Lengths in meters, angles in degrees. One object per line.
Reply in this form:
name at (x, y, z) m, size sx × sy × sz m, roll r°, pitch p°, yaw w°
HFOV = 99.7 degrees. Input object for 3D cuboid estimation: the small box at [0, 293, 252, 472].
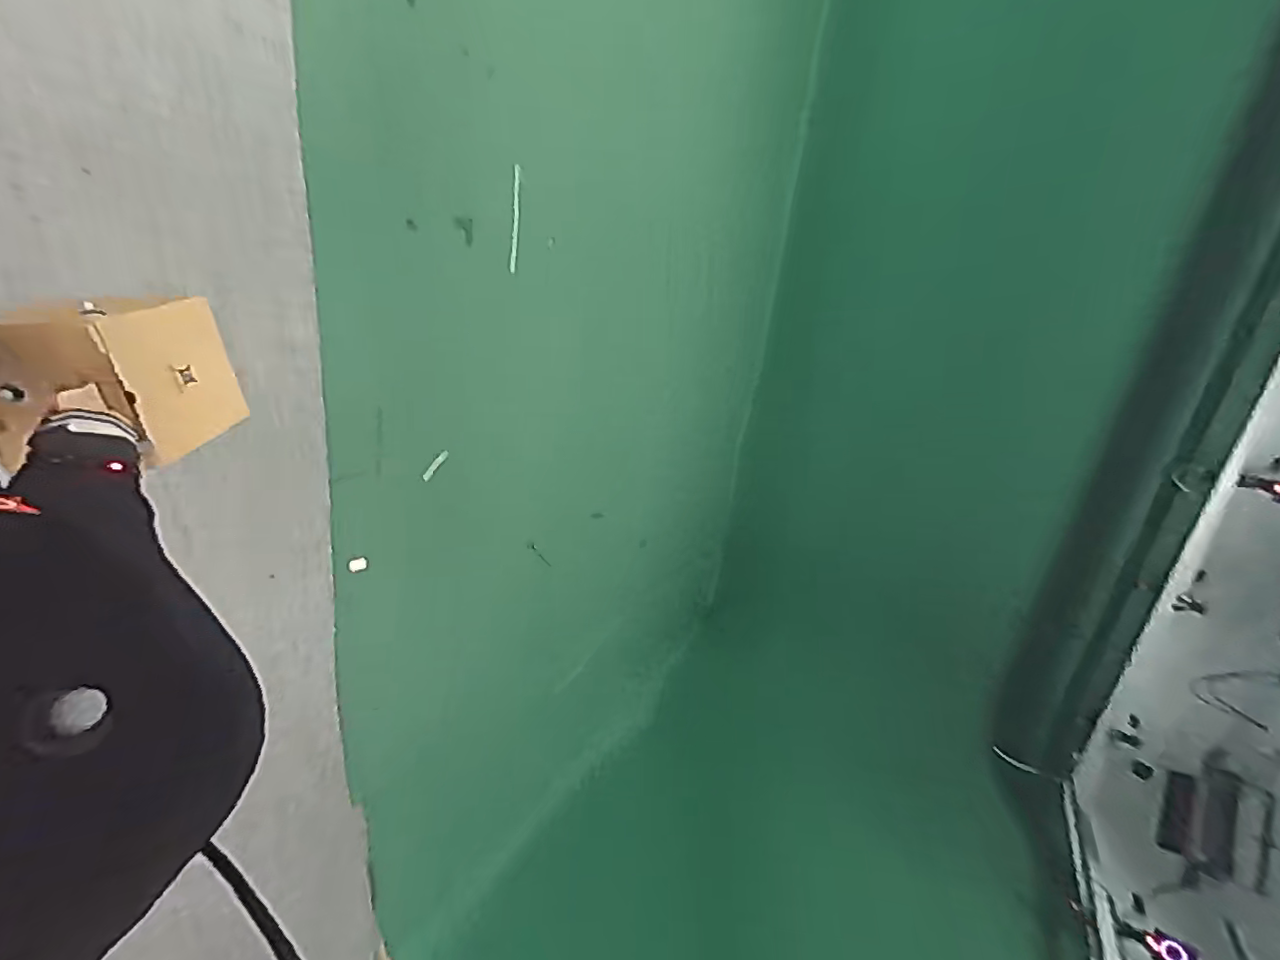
small box at (-0.618, -0.121, 0.639) m, size 0.179 × 0.176 × 0.168 m, roll -98°, pitch -175°, yaw -61°
